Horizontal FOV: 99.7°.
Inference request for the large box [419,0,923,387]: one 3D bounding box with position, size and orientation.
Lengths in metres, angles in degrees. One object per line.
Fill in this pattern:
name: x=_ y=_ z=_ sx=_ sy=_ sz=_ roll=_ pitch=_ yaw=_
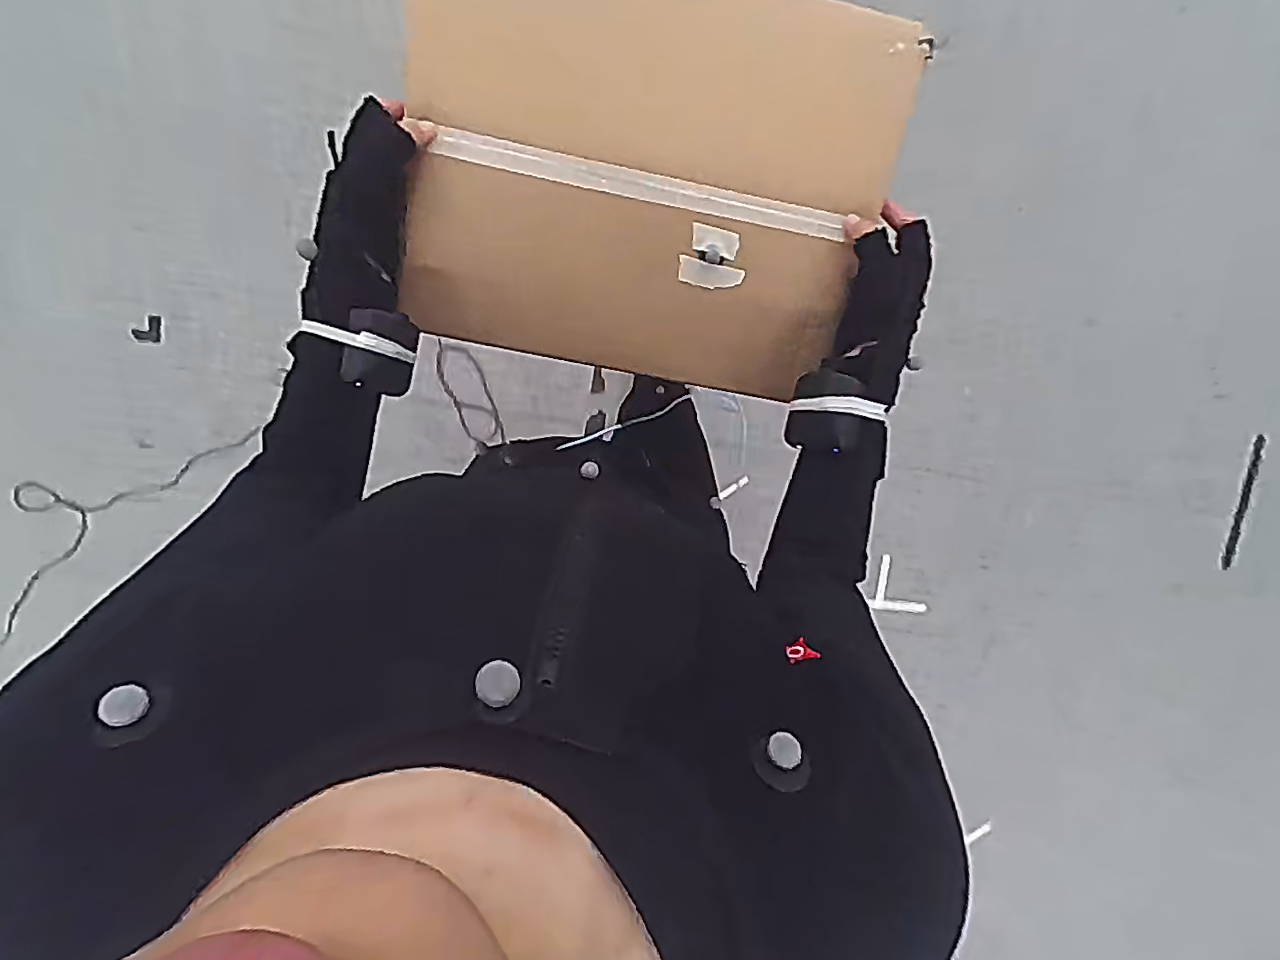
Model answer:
large box: x=0.006 y=-0.311 z=0.613 sx=0.408 sy=0.320 sz=0.320 roll=10 pitch=109 yaw=-6
